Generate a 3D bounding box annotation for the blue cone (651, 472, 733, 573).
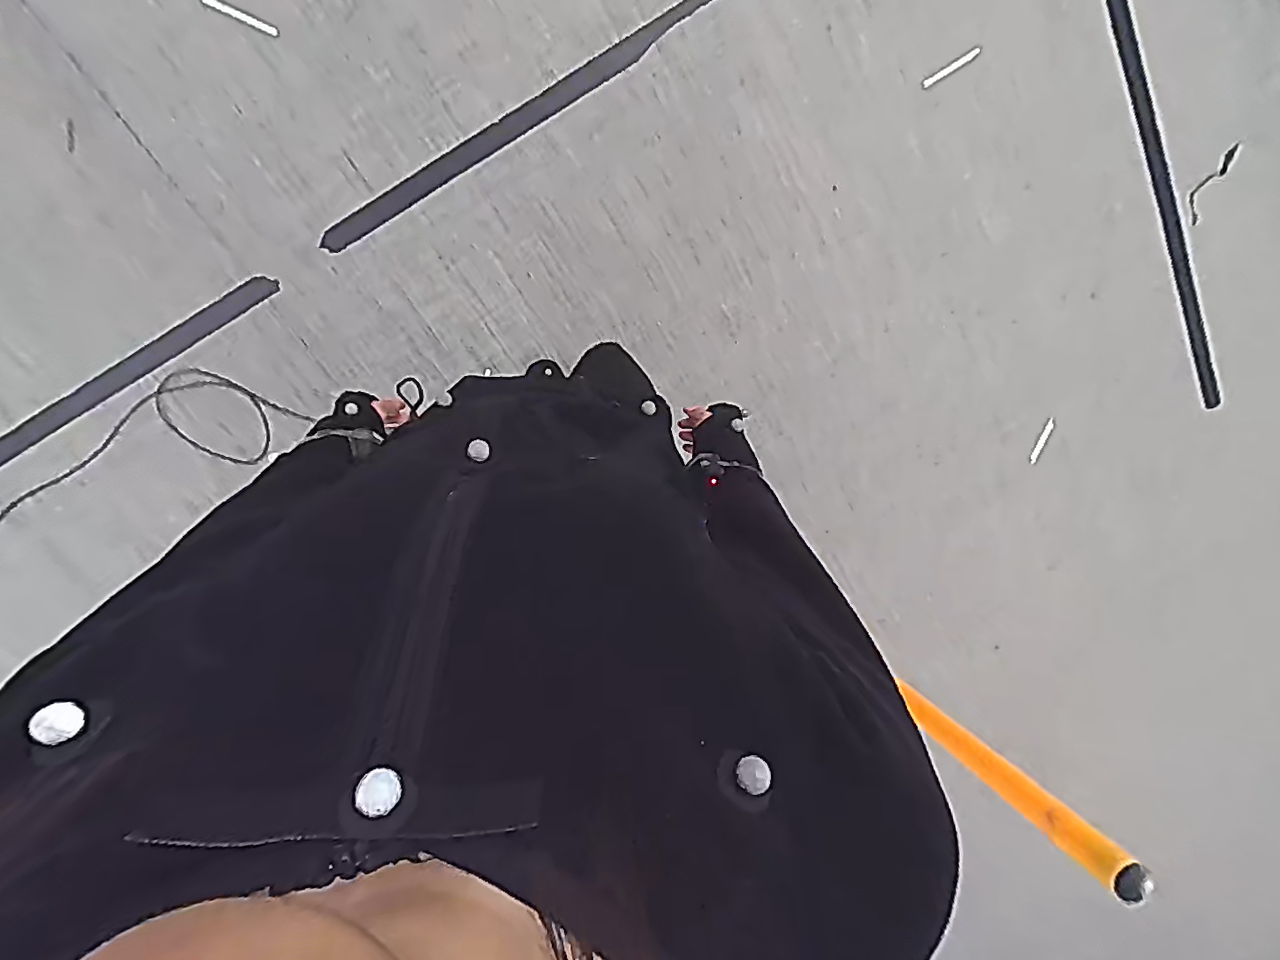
[{"bbox_3d":[0.168,0.130,1.332,0.192,0.380,0.193,-28,107,1],"label":"blue cone"}]
